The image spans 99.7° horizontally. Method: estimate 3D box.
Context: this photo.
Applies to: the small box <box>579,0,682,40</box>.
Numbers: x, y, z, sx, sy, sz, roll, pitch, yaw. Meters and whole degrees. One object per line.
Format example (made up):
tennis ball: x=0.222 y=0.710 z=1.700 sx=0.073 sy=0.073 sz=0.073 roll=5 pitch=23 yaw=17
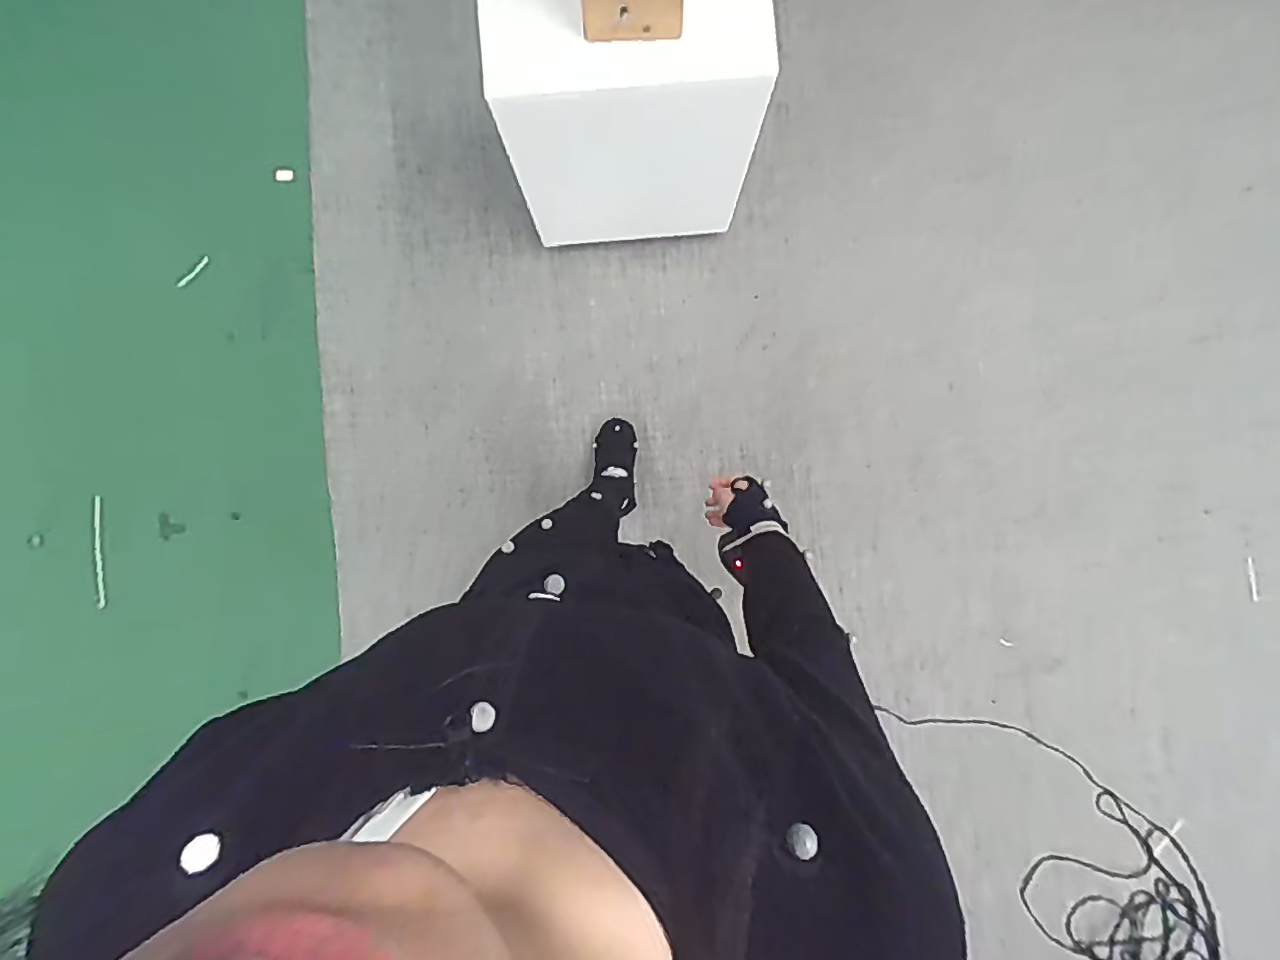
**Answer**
small box: x=-0.017 y=-0.837 z=0.839 sx=0.168 sy=0.176 sz=0.179 roll=-3 pitch=87 yaw=0
